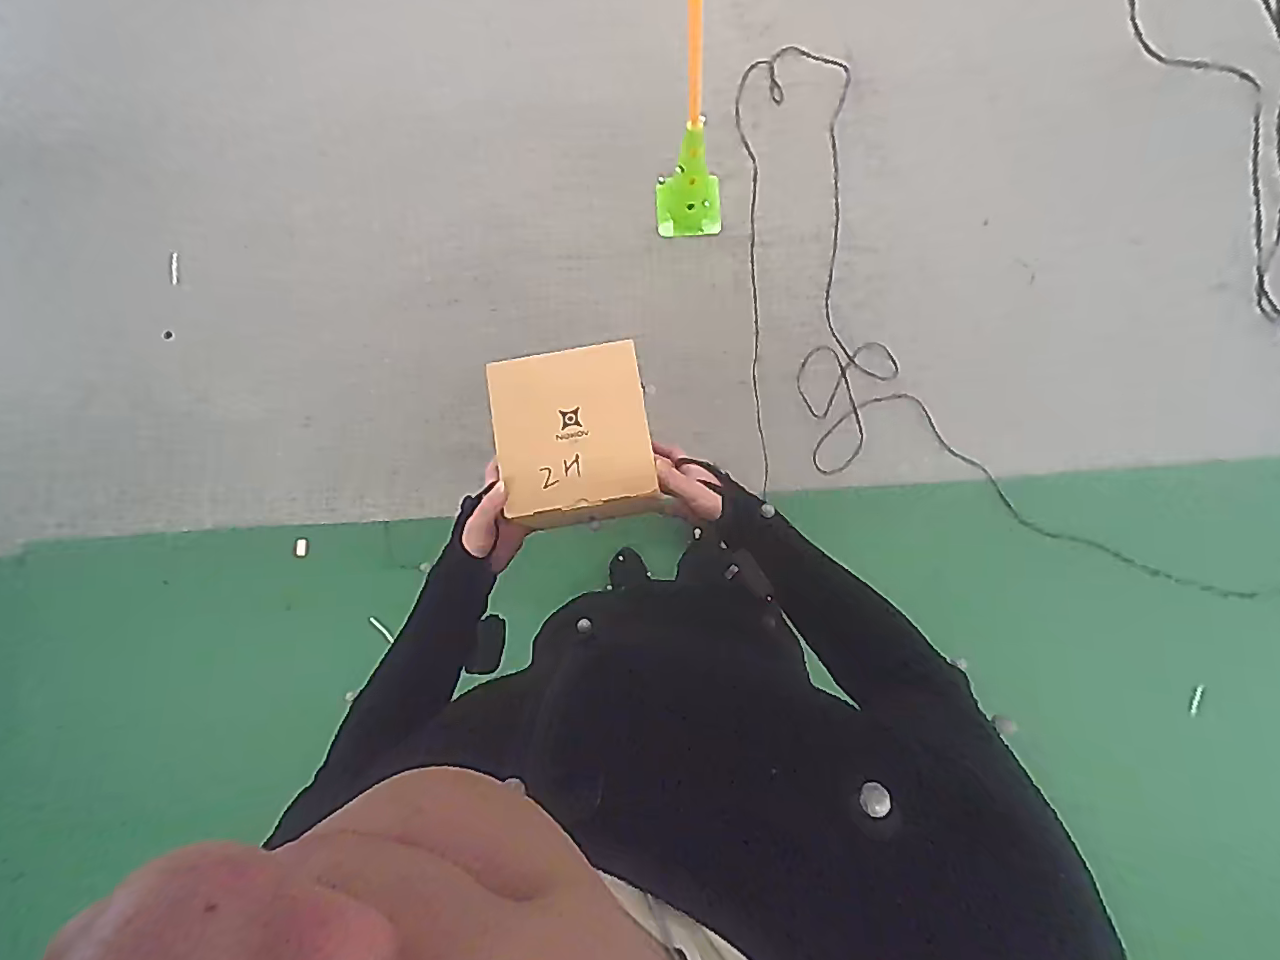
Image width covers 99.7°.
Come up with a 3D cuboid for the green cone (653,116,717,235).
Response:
[{"bbox_3d":[0.143,-0.901,1.569,0.202,0.368,0.200,-3,85,0],"label":"green cone"}]
